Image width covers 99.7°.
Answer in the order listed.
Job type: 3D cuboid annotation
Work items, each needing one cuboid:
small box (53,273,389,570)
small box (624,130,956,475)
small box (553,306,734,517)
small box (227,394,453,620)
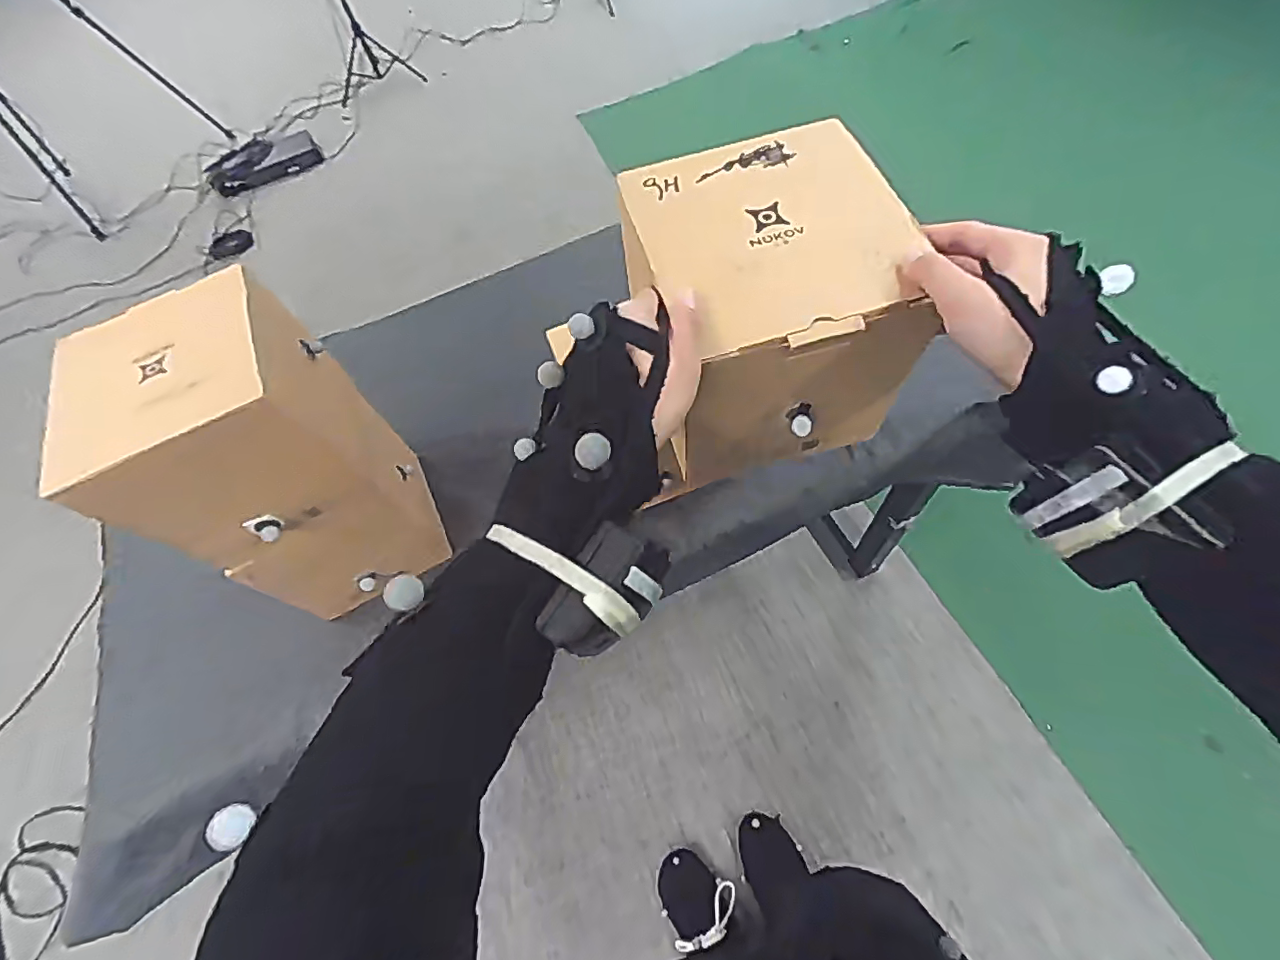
[{"bbox_3d":[-0.365,-0.046,0.499,0.168,0.176,0.179,-28,61,-6],"label":"small box"},{"bbox_3d":[0.094,-0.119,0.417,0.168,0.176,0.179,-15,64,-2],"label":"small box"},{"bbox_3d":[0.011,-0.085,0.655,0.168,0.176,0.179,-22,60,-4],"label":"small box"},{"bbox_3d":[-0.349,0.037,0.638,0.168,0.176,0.179,-28,61,-8],"label":"small box"}]
